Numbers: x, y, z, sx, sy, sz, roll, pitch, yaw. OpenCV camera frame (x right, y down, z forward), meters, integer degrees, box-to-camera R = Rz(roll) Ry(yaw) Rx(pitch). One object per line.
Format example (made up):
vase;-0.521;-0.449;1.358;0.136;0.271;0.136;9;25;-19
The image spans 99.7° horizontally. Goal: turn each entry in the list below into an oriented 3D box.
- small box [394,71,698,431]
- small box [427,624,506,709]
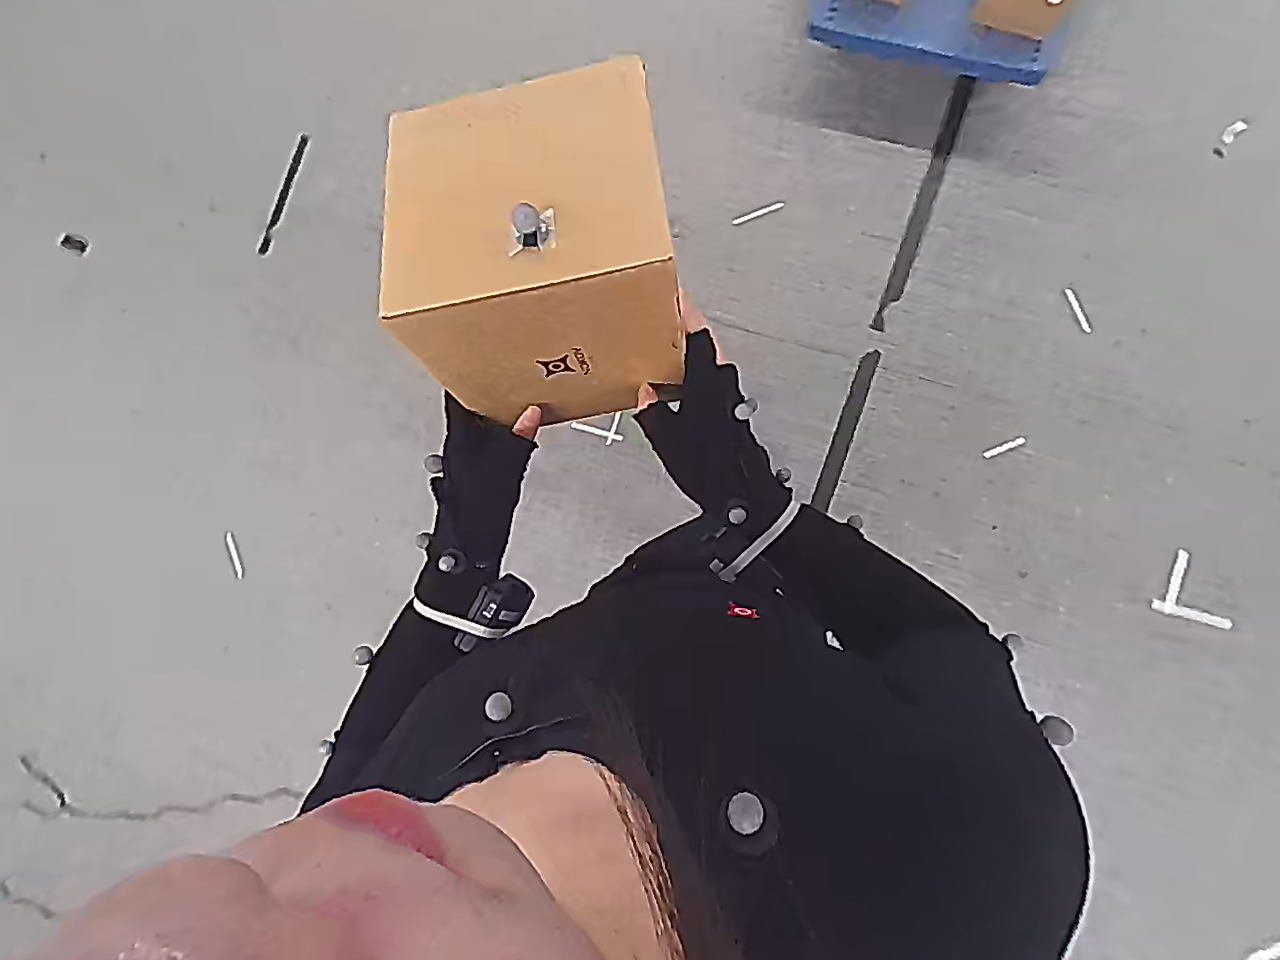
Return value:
small box;-0.056;-0.157;0.407;0.179;0.168;0.176;-9;70;6
small box;-0.486;0.517;1.479;0.168;0.176;0.179;16;90;8
